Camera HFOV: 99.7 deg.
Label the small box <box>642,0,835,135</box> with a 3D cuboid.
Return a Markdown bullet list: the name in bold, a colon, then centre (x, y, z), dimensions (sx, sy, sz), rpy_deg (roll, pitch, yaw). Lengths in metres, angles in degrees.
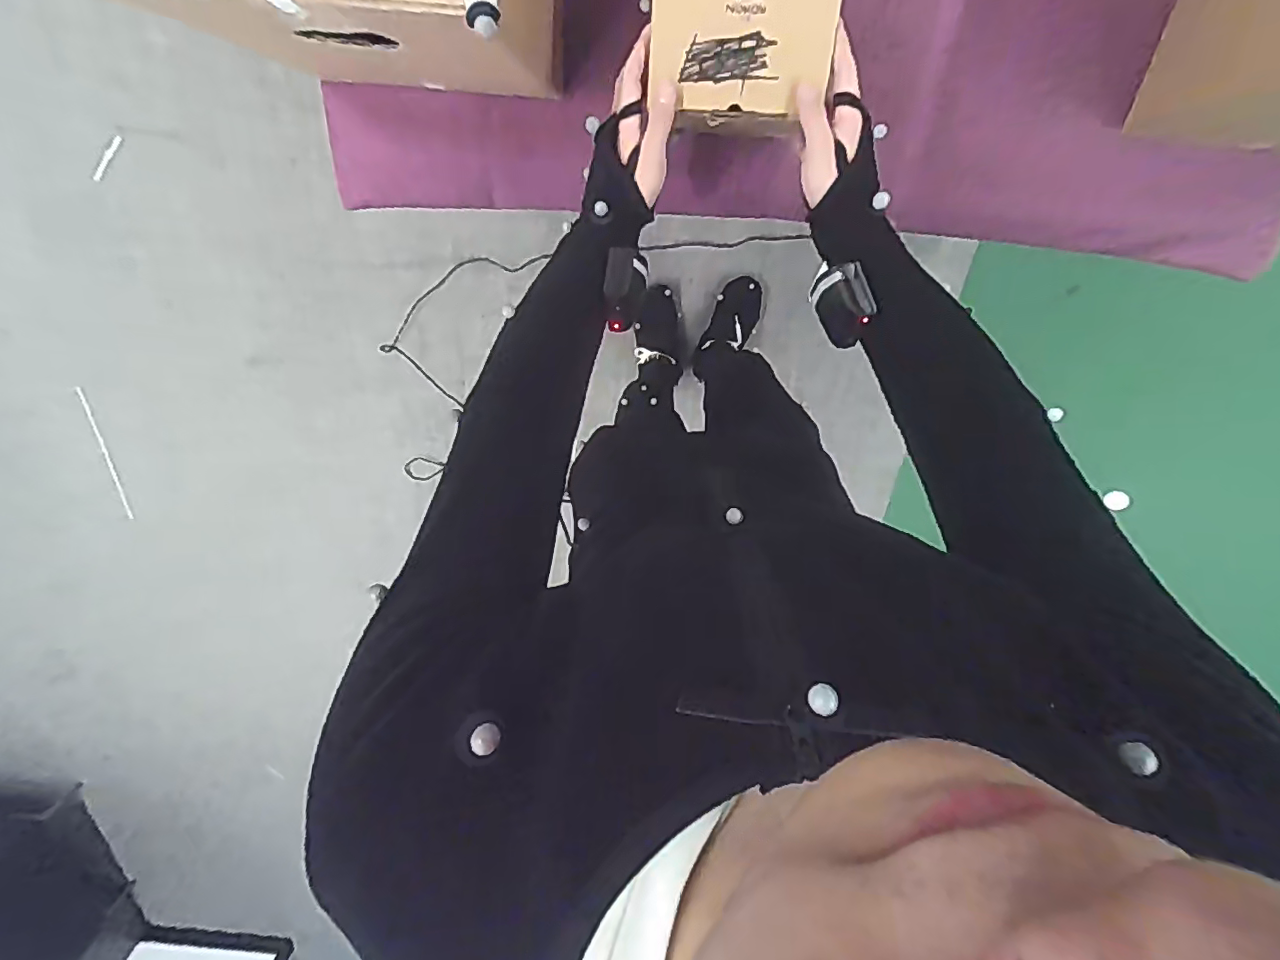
- **small box**: centre (0.093, -0.456, 0.538), dimensions (0.168, 0.176, 0.179), rpy_deg (4, 117, 2)
